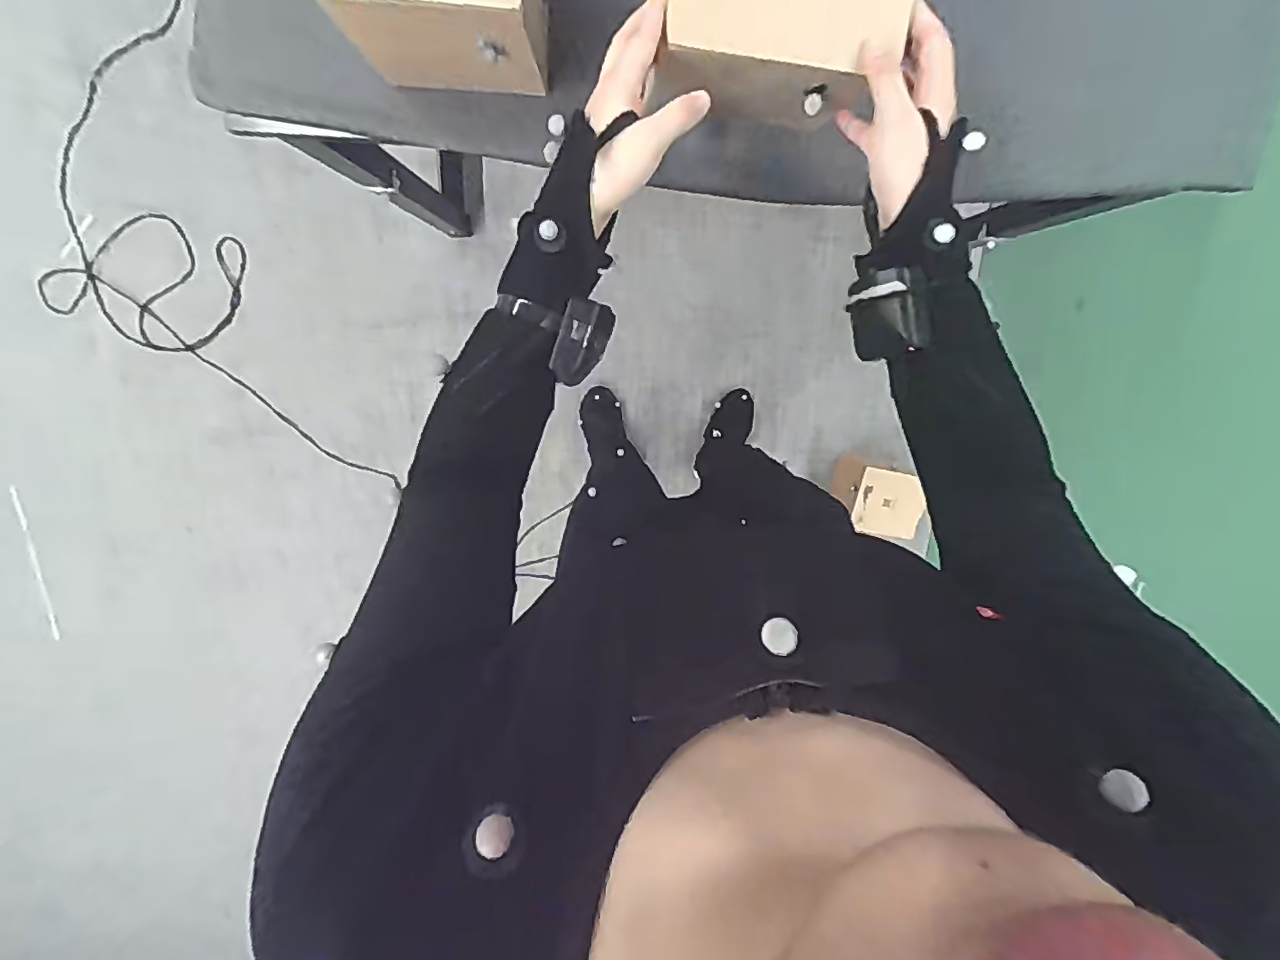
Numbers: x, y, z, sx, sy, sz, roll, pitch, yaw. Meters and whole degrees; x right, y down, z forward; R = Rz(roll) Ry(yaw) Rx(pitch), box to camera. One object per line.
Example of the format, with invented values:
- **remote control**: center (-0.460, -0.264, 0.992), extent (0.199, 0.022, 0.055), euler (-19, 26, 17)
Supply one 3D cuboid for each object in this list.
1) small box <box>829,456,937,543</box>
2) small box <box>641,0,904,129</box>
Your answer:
- **small box**: center (0.624, 0.045, 1.409), extent (0.179, 0.176, 0.168), euler (11, 105, -3)
- **small box**: center (0.099, -0.402, 0.436), extent (0.179, 0.176, 0.168), euler (5, 111, -4)
